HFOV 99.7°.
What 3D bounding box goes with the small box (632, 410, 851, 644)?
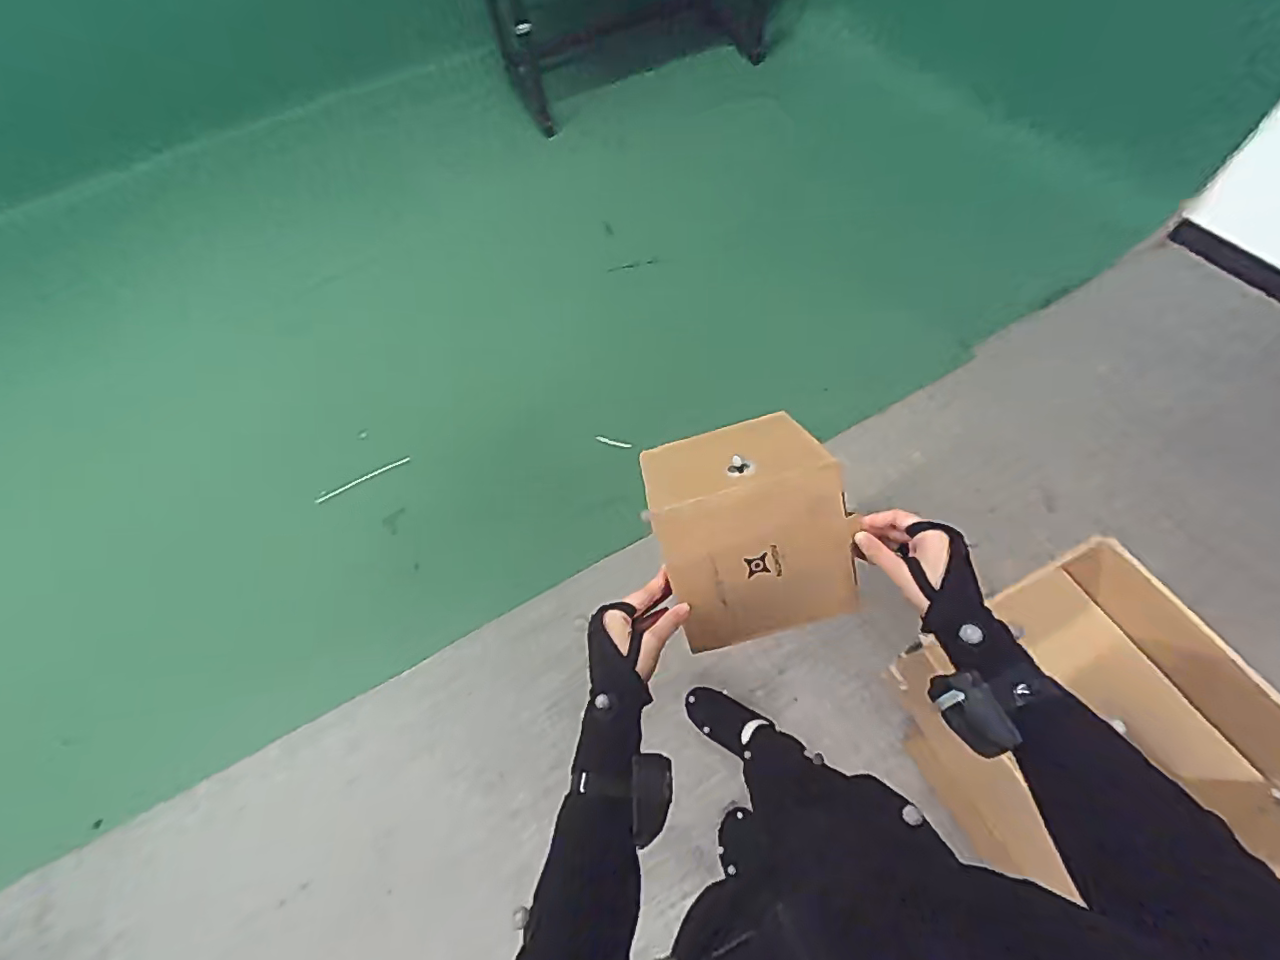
[{"bbox_3d":[0.097,0.038,0.576,0.179,0.168,0.176,-16,21,3],"label":"small box"}]
